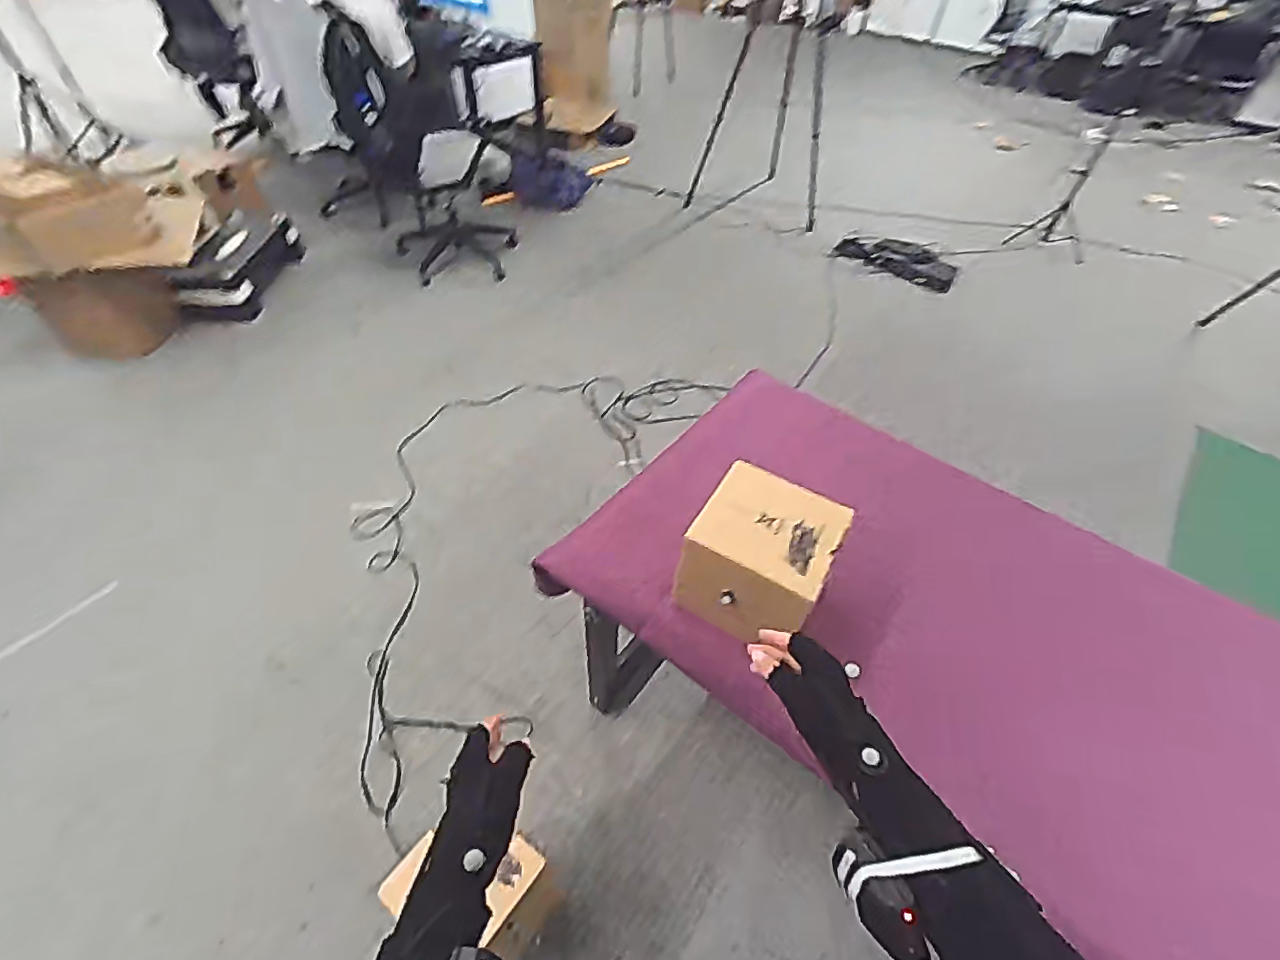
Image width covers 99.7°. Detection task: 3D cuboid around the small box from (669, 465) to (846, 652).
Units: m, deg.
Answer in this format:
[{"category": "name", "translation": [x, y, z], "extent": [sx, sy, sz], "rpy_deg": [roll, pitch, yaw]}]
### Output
[{"category": "small box", "translation": [0.159, 0.117, 0.769], "extent": [0.179, 0.176, 0.168], "rpy_deg": [27, 51, 18]}]
